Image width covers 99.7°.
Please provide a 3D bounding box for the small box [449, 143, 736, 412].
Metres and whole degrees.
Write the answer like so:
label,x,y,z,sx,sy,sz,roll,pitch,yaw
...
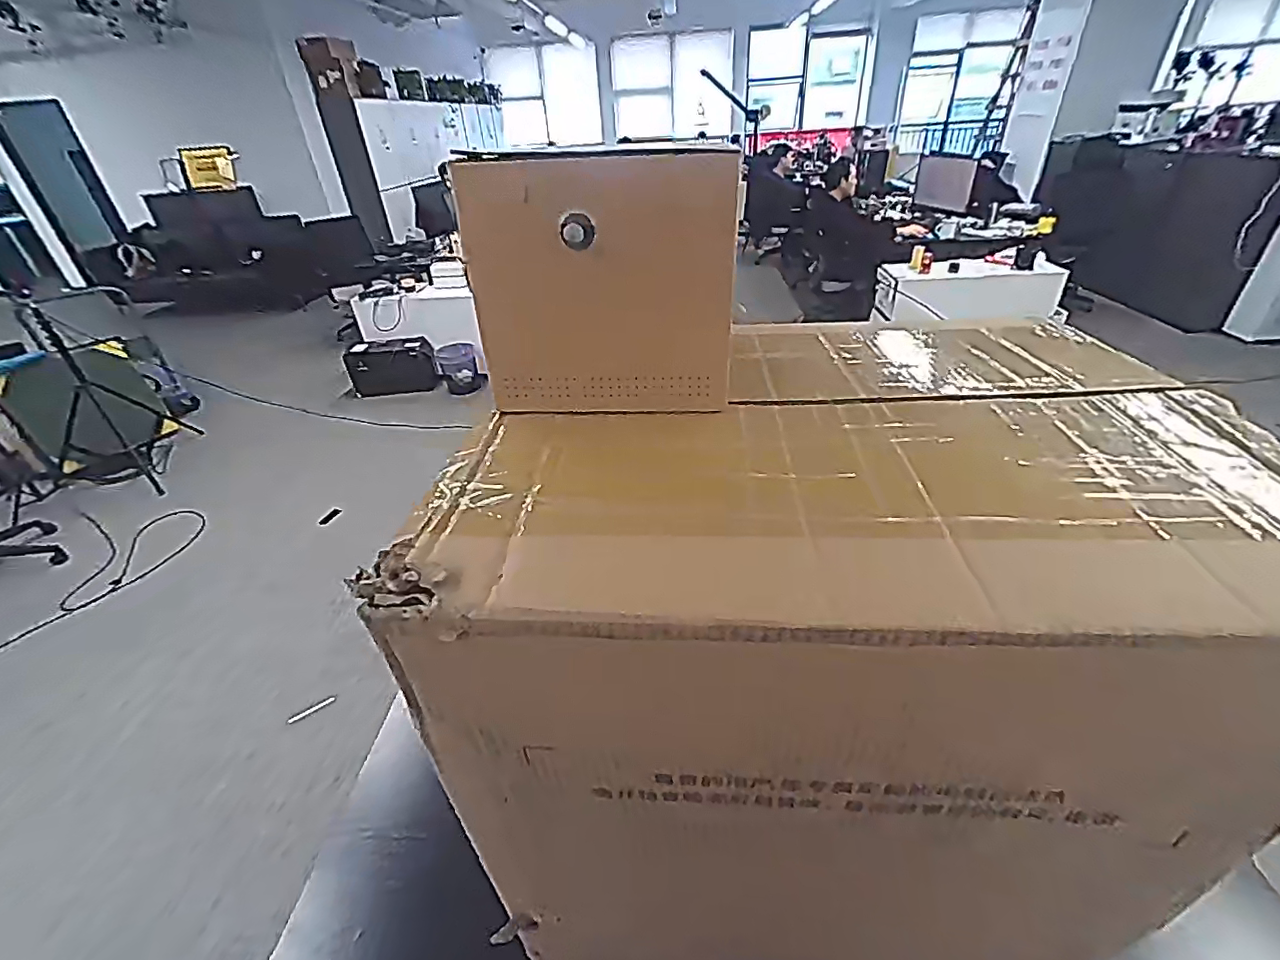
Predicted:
label,x,y,z,sx,sy,sz,roll,pitch,yaw
small box,-0.021,-0.160,0.425,0.179,0.176,0.168,1,32,4
